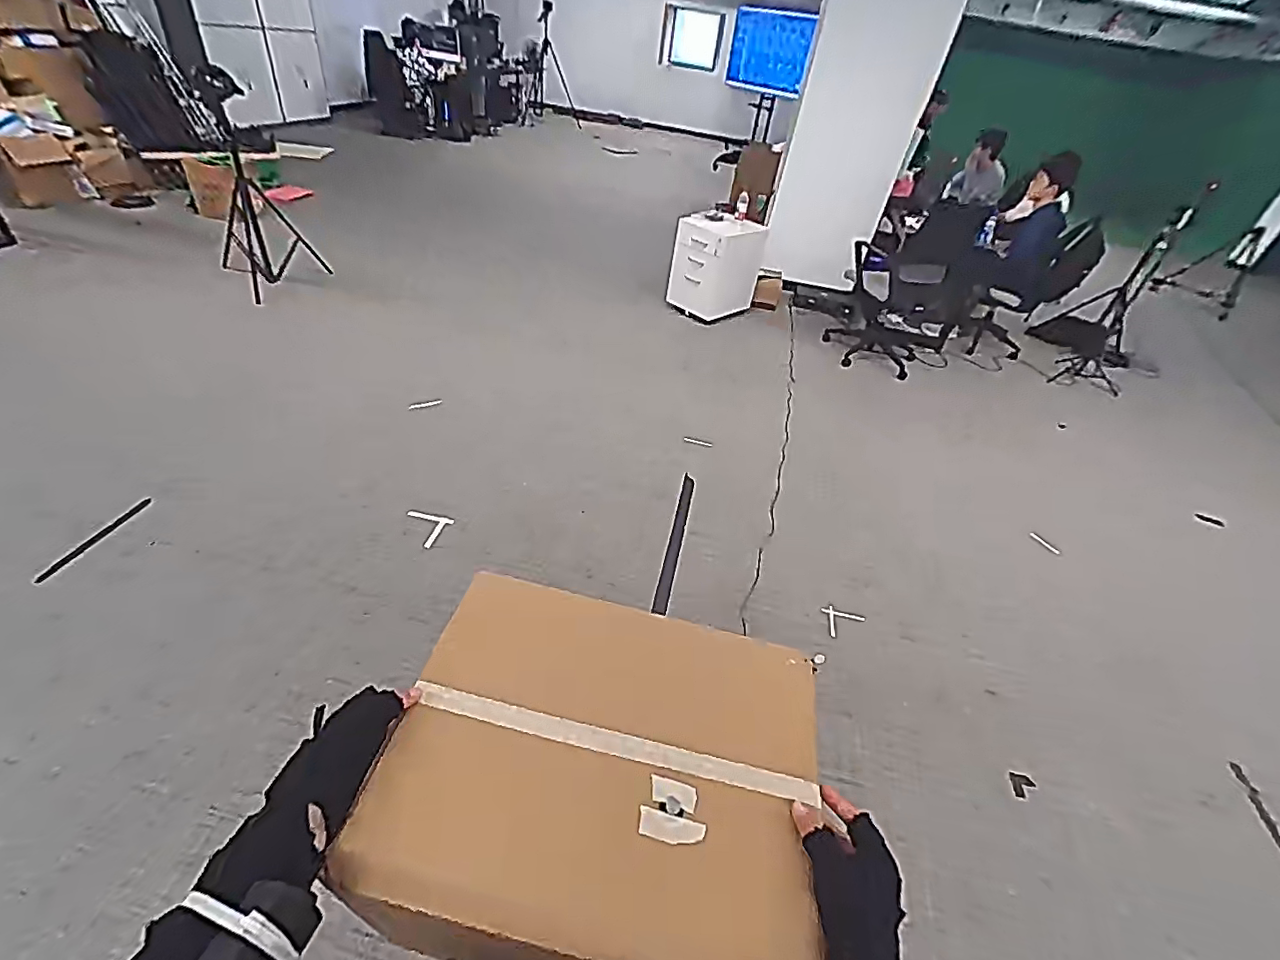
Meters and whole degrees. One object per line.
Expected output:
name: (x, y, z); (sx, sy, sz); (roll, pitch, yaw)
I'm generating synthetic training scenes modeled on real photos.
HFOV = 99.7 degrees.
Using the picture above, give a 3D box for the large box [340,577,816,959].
large box: (-0.048, 0.367, 0.639); (0.408, 0.320, 0.320); (14, 43, 3)
